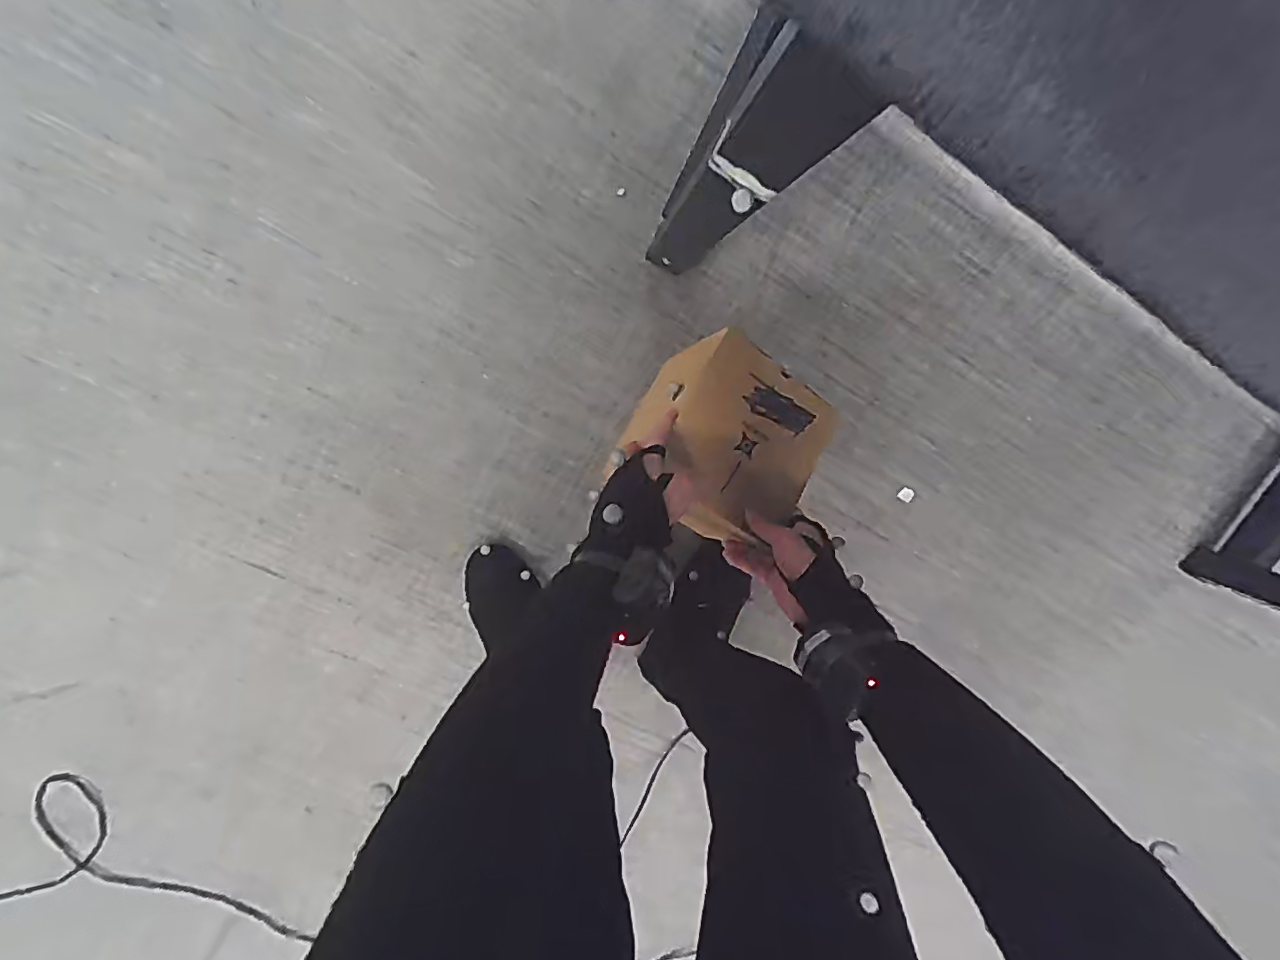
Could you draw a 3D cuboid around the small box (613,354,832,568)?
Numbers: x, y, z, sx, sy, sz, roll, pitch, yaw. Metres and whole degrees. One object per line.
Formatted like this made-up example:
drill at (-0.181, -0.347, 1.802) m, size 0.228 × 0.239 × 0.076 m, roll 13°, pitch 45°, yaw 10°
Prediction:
small box at (0.087, -0.019, 0.652) m, size 0.168 × 0.176 × 0.179 m, roll 32°, pitch 80°, yaw -14°
